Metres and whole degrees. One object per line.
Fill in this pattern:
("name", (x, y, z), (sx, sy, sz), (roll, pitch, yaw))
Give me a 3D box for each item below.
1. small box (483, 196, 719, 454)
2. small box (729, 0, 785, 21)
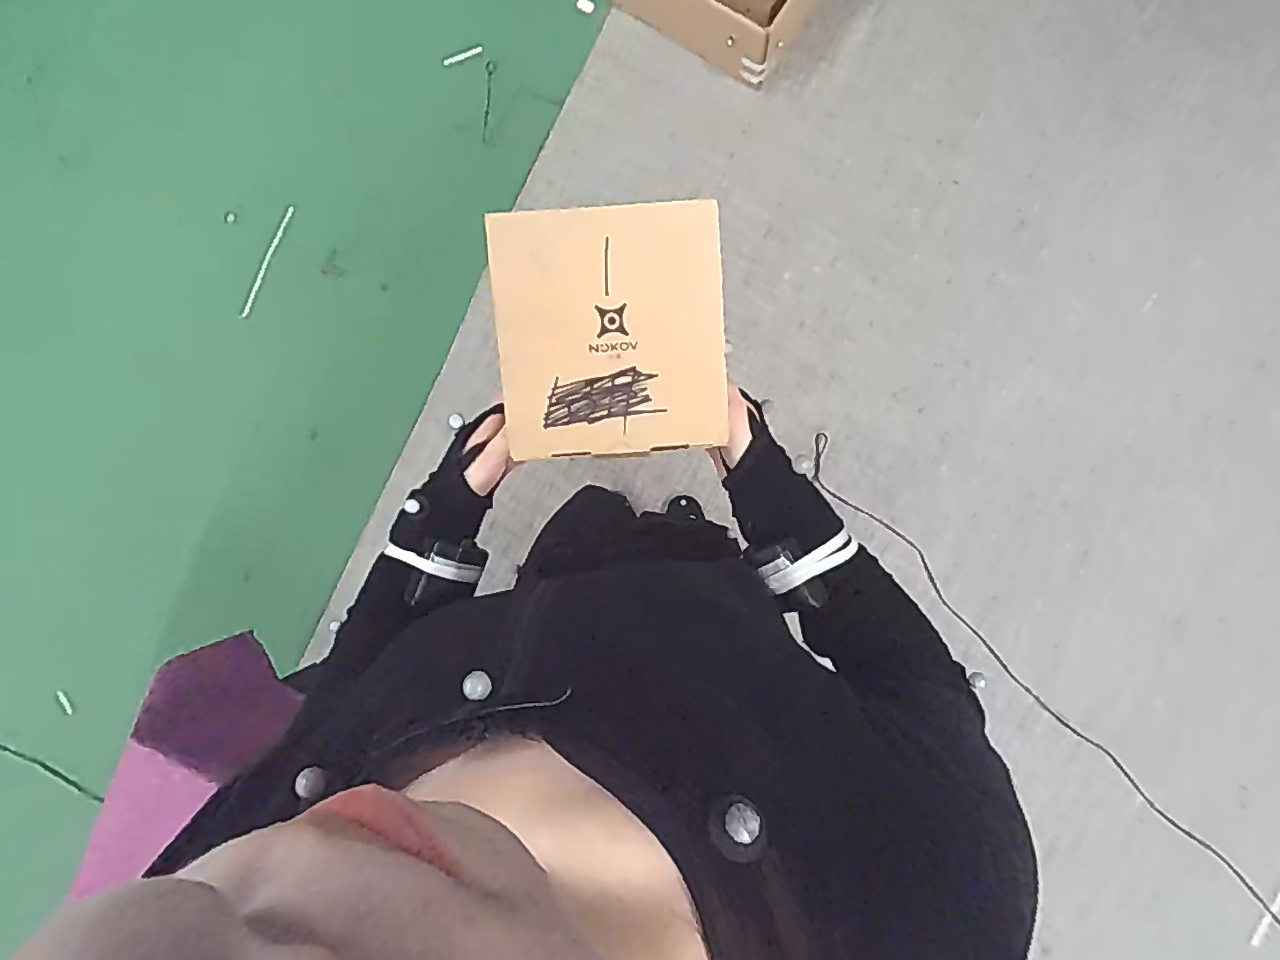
("small box", (-0.026, -0.120, 0.469), (0.168, 0.176, 0.179), (-4, 97, 0))
("small box", (0.300, -1.277, 1.306), (0.168, 0.176, 0.179), (32, 96, 7))
